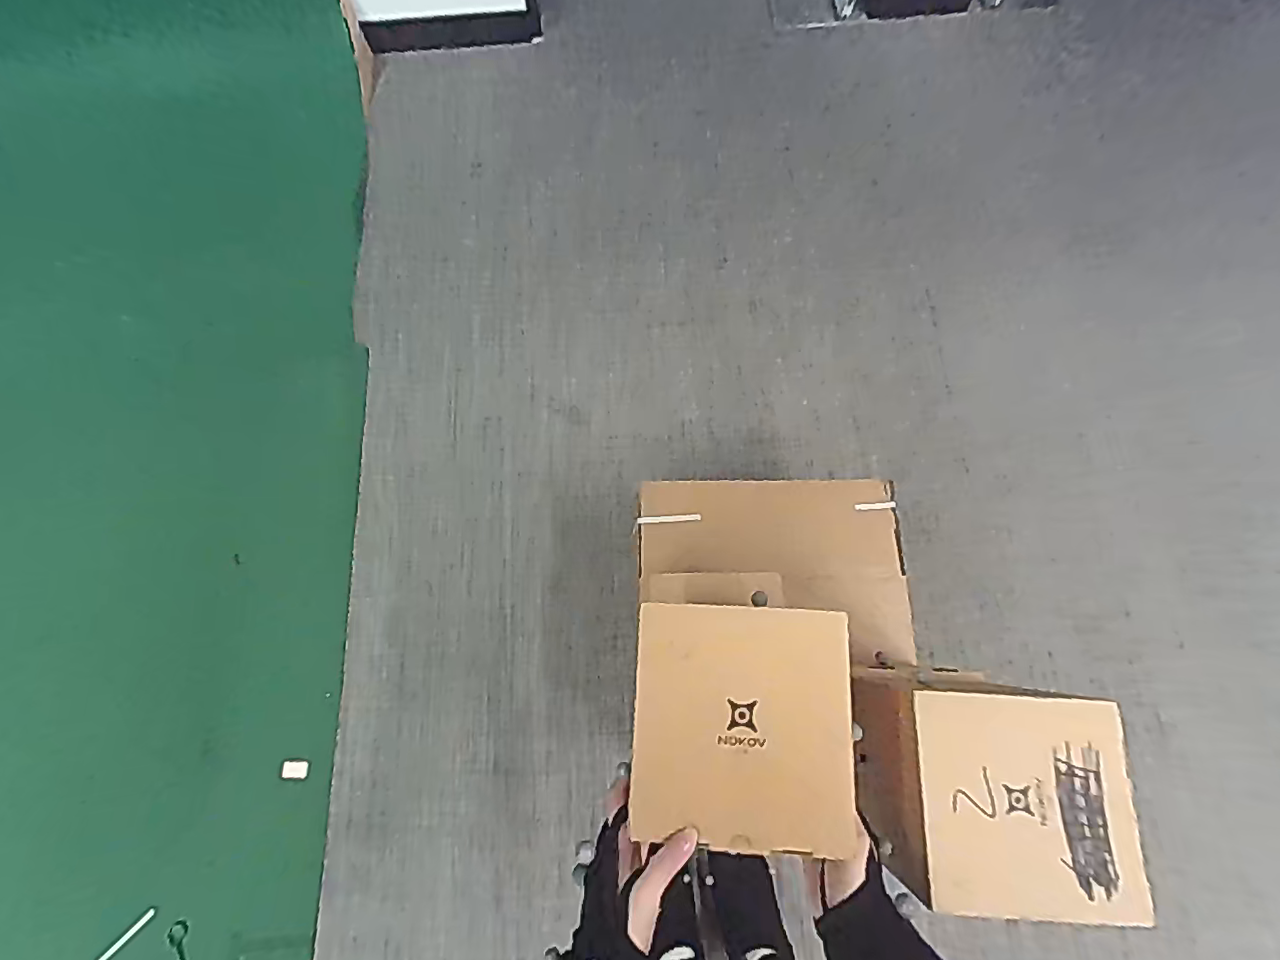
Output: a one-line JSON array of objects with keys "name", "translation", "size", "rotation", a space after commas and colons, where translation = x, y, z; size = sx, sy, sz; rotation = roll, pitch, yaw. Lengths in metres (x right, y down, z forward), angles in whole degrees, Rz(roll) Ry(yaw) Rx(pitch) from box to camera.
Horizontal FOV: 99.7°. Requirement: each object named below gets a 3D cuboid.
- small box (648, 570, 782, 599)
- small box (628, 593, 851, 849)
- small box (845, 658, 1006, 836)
[{"name": "small box", "translation": [0.094, 0.218, 0.719], "size": [0.168, 0.176, 0.179], "rotation": [-1, 72, 1]}, {"name": "small box", "translation": [0.082, 0.198, 0.493], "size": [0.168, 0.176, 0.179], "rotation": [1, 77, 6]}, {"name": "small box", "translation": [0.313, 0.320, 0.680], "size": [0.168, 0.176, 0.179], "rotation": [2, 72, 1]}]
